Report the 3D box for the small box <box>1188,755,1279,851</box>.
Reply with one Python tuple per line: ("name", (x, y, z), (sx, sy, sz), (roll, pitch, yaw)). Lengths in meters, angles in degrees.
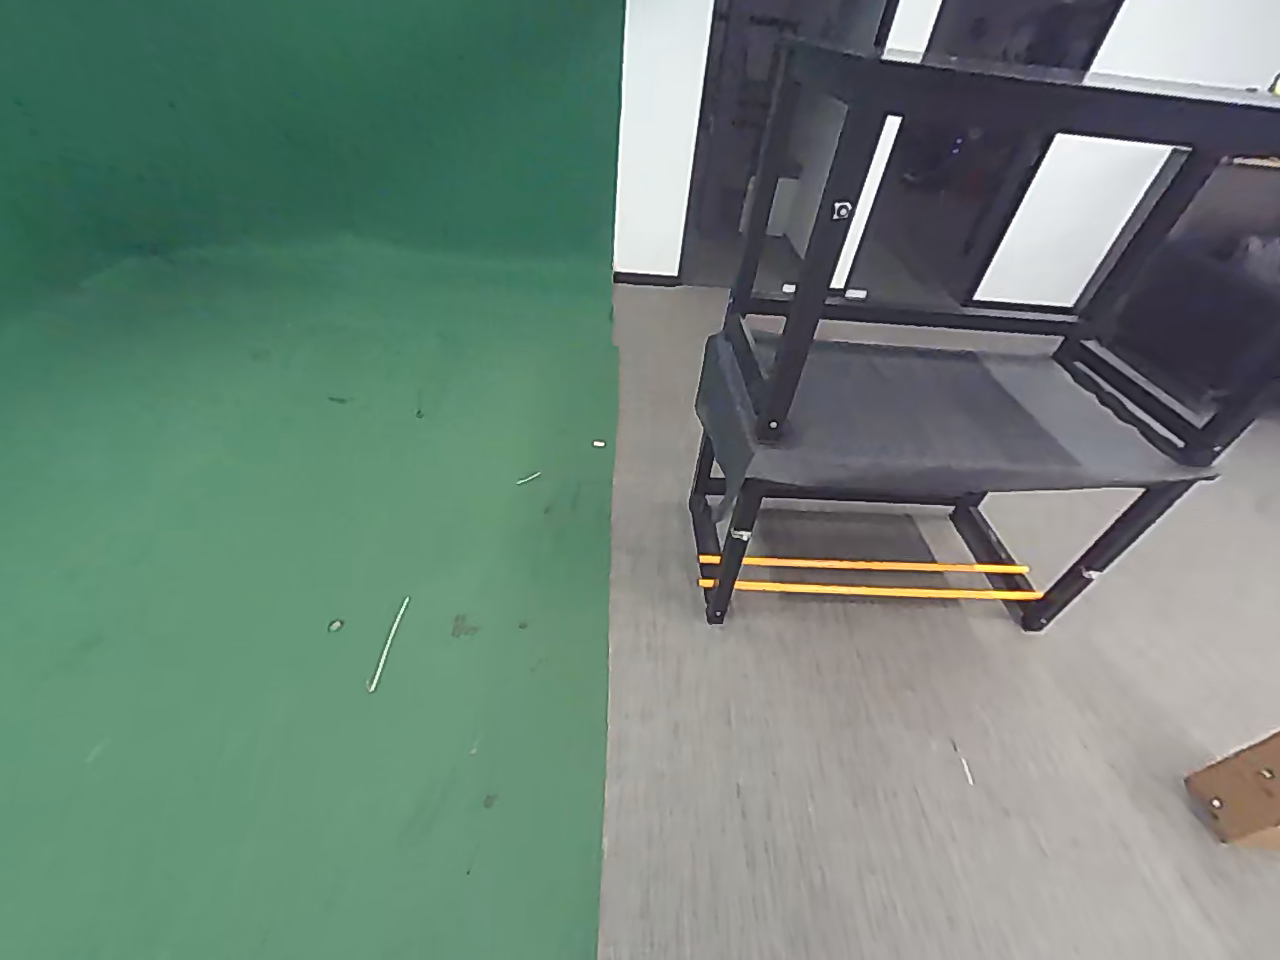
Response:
("small box", (1.613, 0.842, 1.404), (0.179, 0.176, 0.168), (6, 41, 0))
